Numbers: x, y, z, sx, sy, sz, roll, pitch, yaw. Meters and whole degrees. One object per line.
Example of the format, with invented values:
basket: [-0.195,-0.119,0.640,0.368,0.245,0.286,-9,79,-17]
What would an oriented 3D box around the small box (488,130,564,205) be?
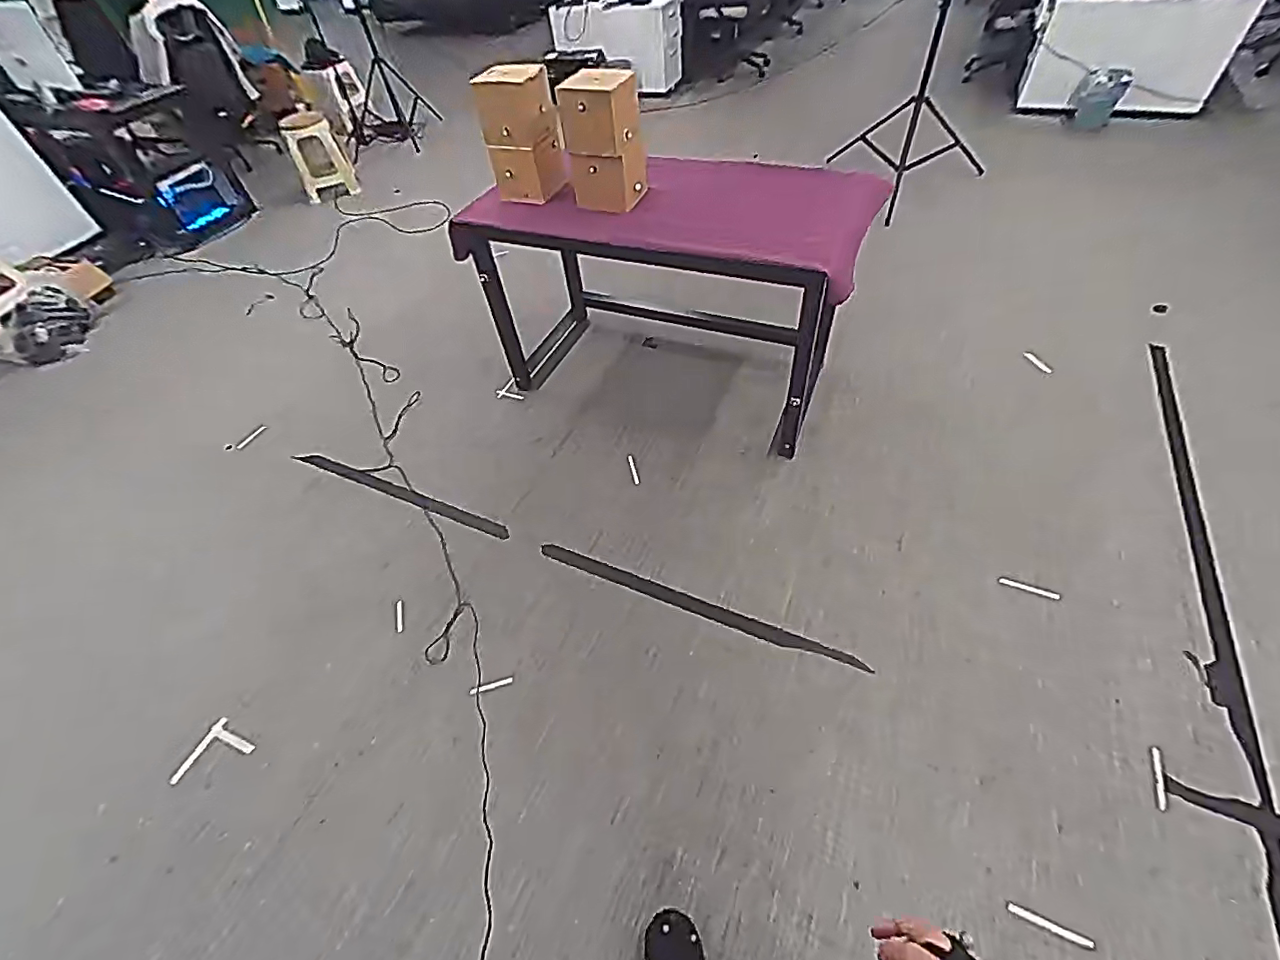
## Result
small box: [-0.364,-1.025,1.772,0.168,0.176,0.179,13,53,17]

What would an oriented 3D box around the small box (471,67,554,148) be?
small box: [-0.380,-1.136,1.652,0.179,0.176,0.168,12,52,15]

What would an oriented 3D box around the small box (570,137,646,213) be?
small box: [-0.094,-0.951,1.680,0.179,0.176,0.168,15,54,17]

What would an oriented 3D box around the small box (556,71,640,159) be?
small box: [-0.113,-1.045,1.549,0.179,0.176,0.168,18,56,18]
